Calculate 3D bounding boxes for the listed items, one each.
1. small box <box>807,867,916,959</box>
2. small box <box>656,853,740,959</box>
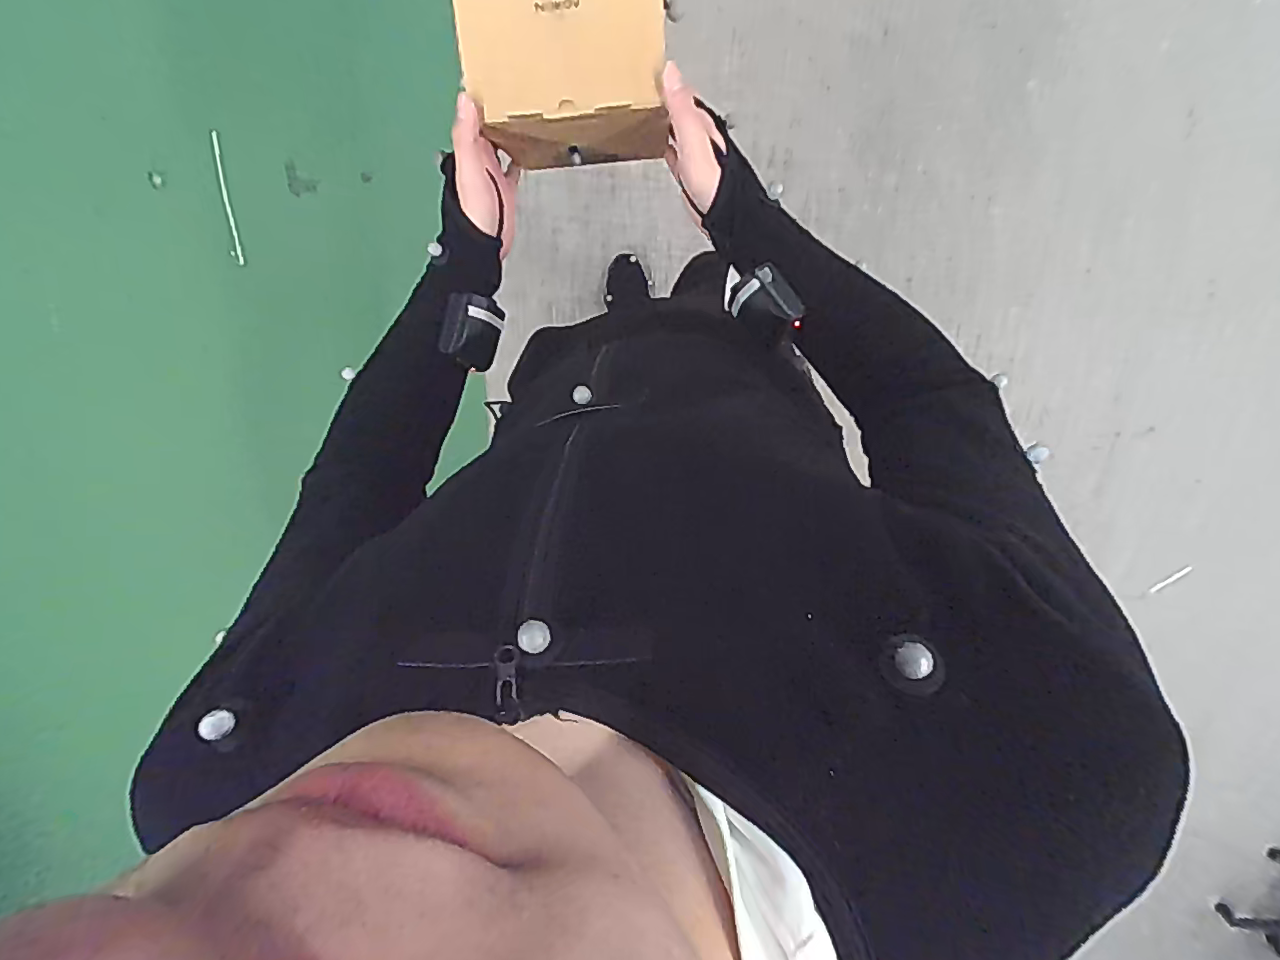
[{"bbox_3d":[0.480,0.999,1.200,0.168,0.176,0.179,2,112,2],"label":"small box"},{"bbox_3d":[0.122,0.981,1.210,0.168,0.176,0.179,3,111,1],"label":"small box"}]
